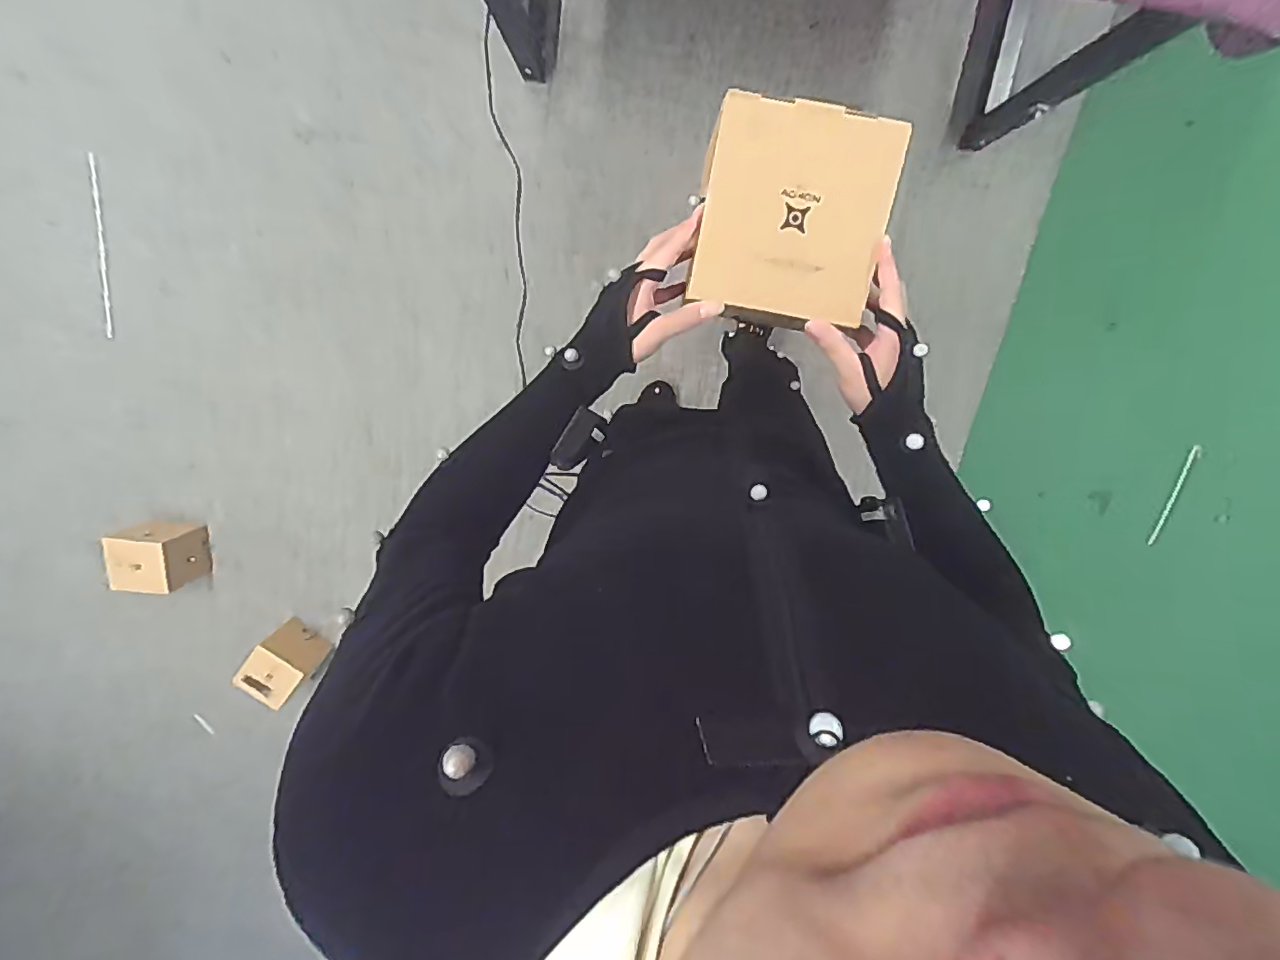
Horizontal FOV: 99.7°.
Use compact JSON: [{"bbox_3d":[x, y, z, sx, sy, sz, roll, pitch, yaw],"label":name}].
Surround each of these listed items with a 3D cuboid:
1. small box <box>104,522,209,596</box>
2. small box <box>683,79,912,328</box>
[{"bbox_3d":[-1.458,0.235,1.647,0.179,0.176,0.168,6,104,0],"label":"small box"},{"bbox_3d":[0.141,-0.262,0.557,0.168,0.176,0.179,11,104,-1],"label":"small box"}]
